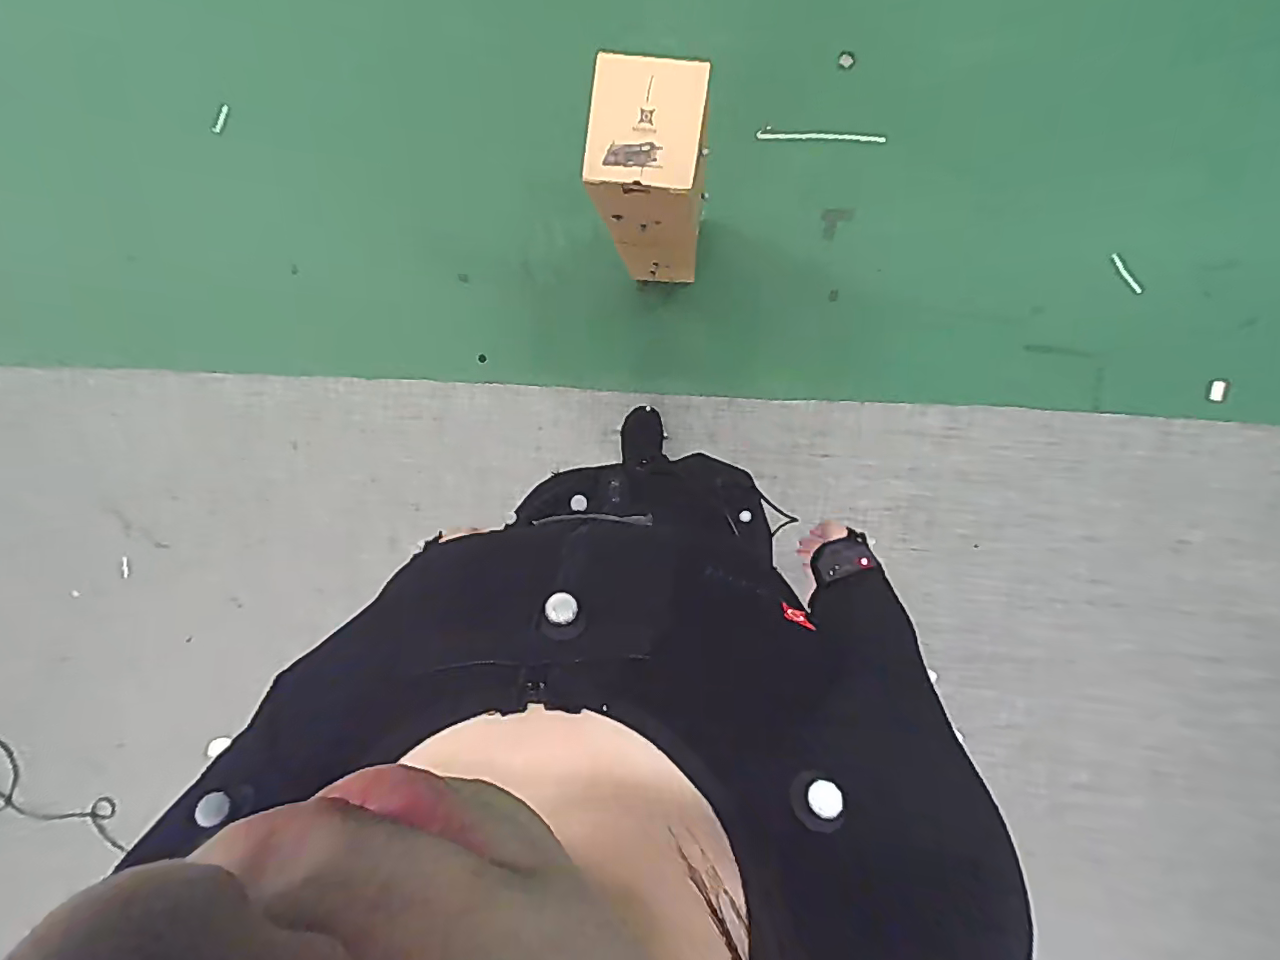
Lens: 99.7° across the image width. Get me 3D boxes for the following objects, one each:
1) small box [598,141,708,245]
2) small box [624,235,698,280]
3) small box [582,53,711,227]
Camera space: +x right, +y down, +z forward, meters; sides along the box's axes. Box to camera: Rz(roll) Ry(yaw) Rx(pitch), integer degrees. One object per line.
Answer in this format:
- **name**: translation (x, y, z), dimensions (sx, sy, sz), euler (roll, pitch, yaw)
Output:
- **small box**: translation (0.029, -0.552, 1.011), dimensions (0.179, 0.176, 0.168), euler (7, 99, 5)
- **small box**: translation (0.058, -0.601, 1.335), dimensions (0.168, 0.176, 0.179), euler (5, 97, 5)
- **small box**: translation (0.017, -0.519, 0.850), dimensions (0.168, 0.176, 0.179), euler (10, 98, 5)
